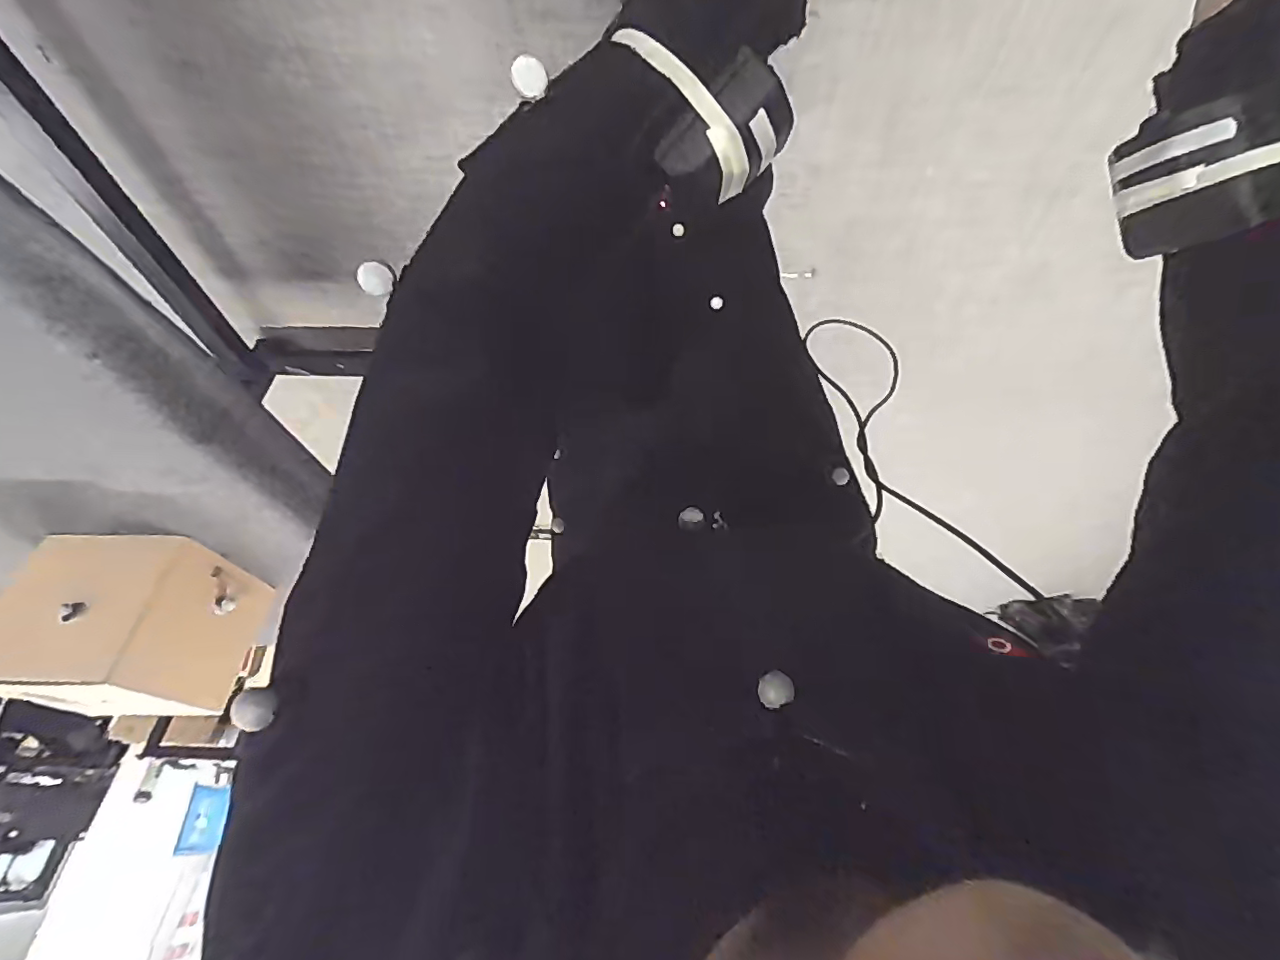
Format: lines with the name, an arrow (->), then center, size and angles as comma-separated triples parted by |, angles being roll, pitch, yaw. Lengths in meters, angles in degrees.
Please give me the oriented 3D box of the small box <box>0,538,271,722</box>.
small box -> -0.591, 0.177, 0.636 | 0.179, 0.176, 0.168 | -1, 146, 4
